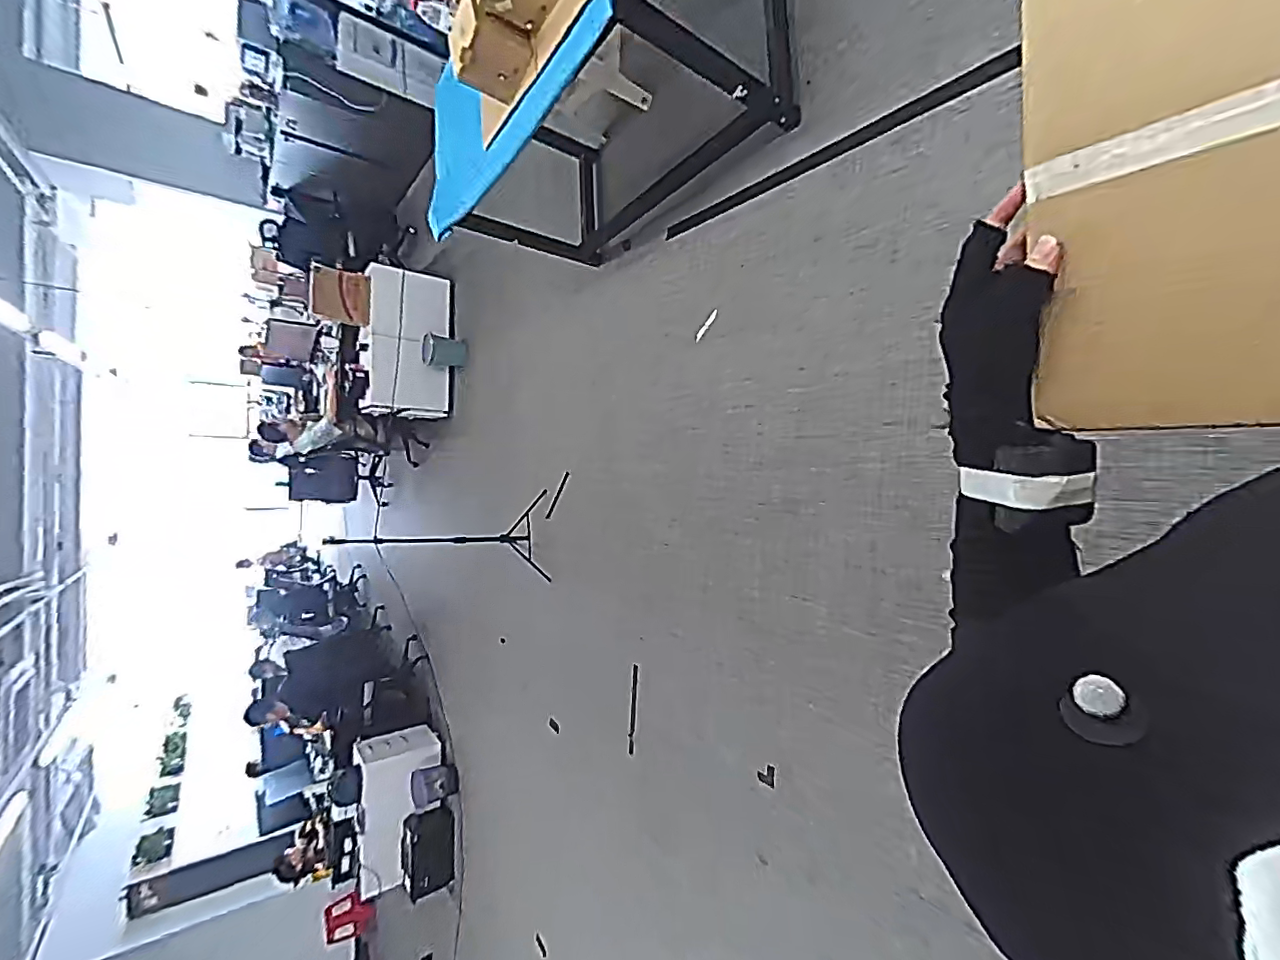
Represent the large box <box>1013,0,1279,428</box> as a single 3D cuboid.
[{"bbox_3d":[0.488,-0.210,0.281,0.408,0.320,0.320,3,102,54],"label":"large box"}]
